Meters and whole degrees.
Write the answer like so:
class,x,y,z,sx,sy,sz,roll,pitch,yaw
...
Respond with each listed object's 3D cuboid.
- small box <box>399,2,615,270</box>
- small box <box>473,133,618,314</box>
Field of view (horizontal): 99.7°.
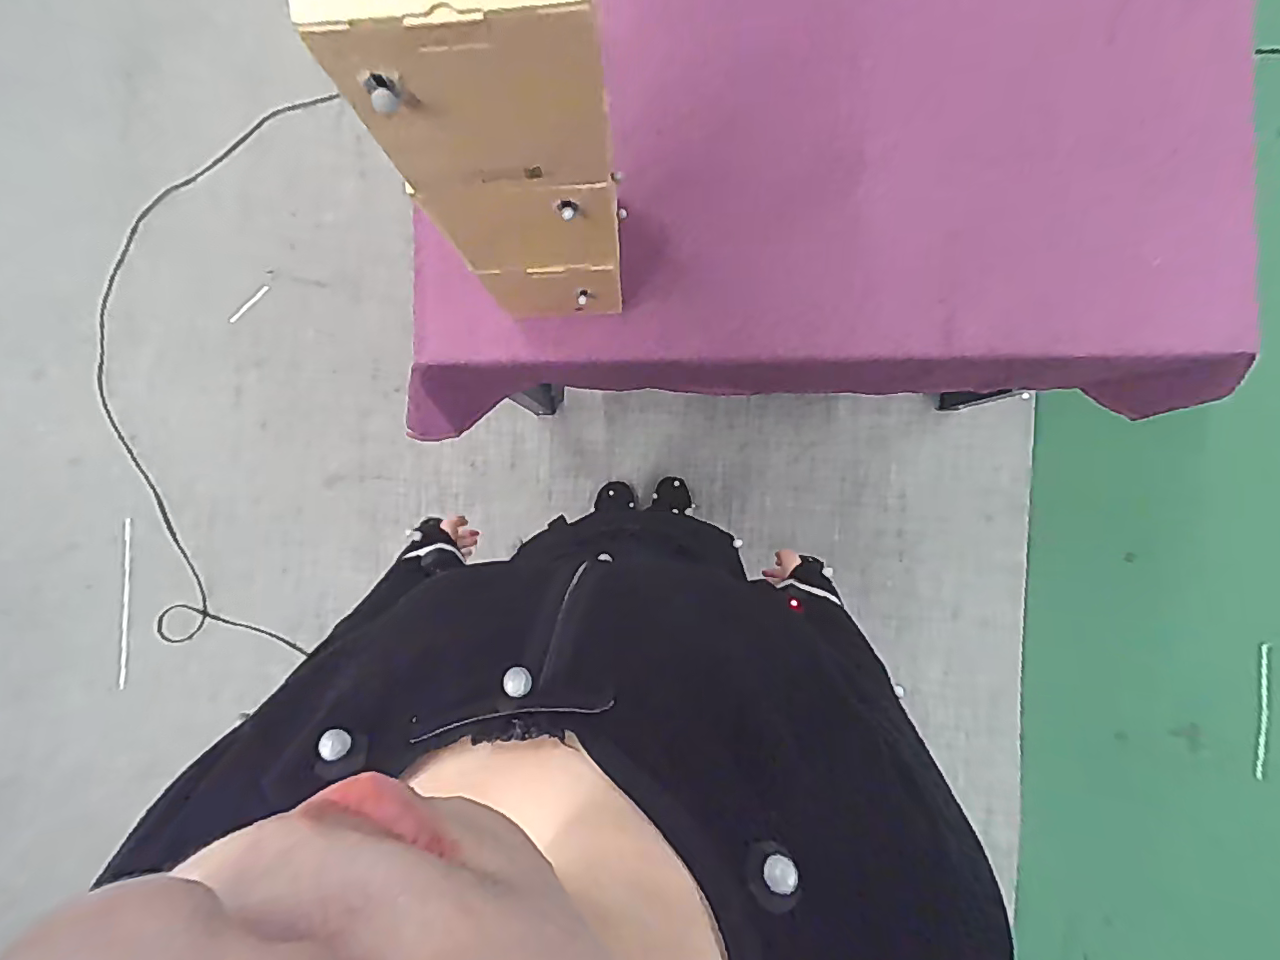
class,x,y,z,sx,sy,sz,roll,pitch,yaw
small box,-0.119,-0.326,0.545,0.179,0.176,0.168,-4,90,-1
small box,-0.115,-0.323,0.708,0.168,0.176,0.179,-2,89,-1
